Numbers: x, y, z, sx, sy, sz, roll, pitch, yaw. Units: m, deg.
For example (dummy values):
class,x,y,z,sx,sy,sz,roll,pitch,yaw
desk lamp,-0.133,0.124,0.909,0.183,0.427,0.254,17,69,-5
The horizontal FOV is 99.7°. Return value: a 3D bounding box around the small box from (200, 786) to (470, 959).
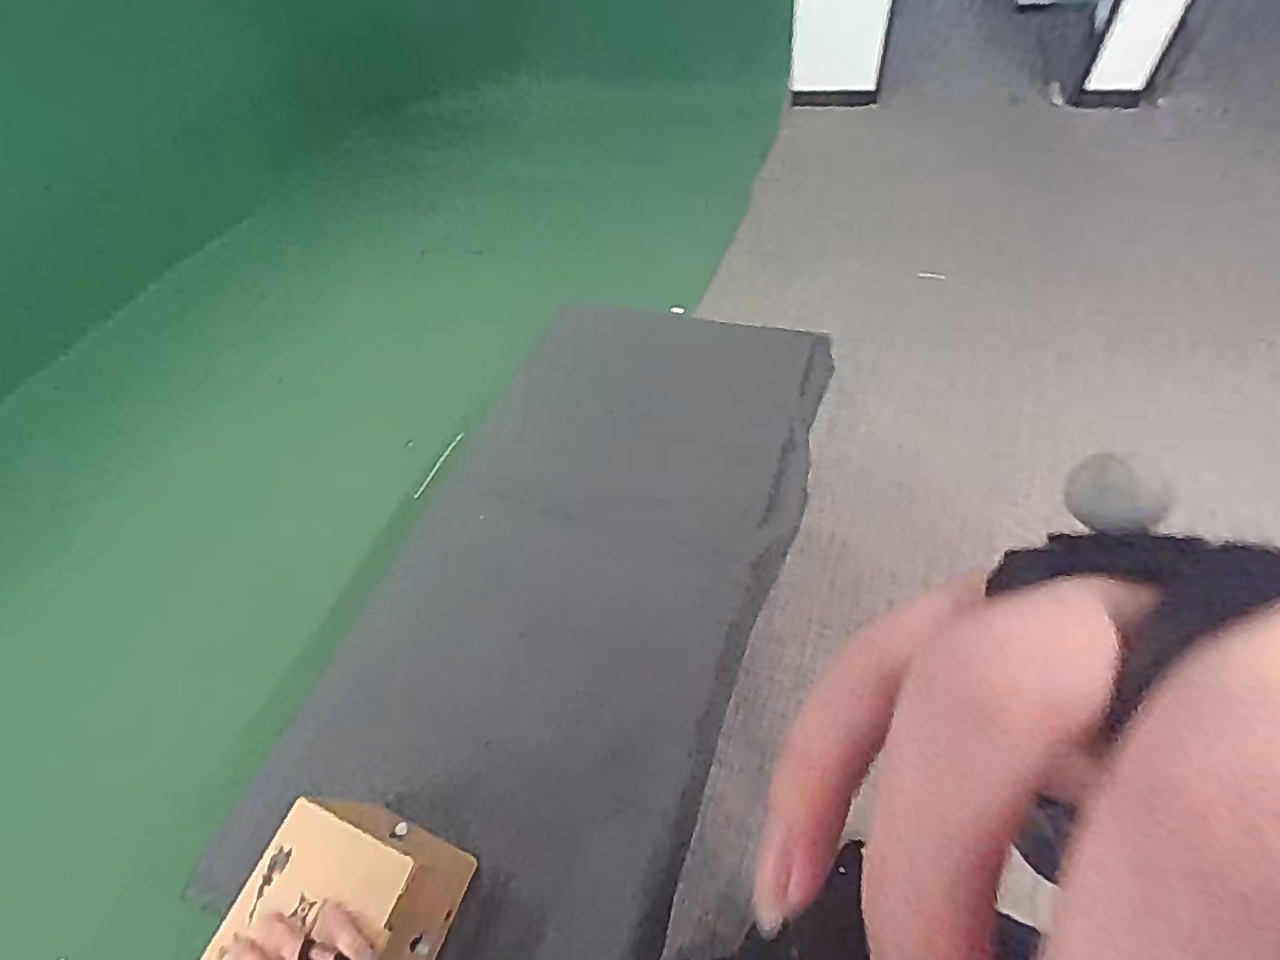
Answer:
class,x,y,z,sx,sy,sz,roll,pitch,yaw
small box,-0.331,0.481,0.629,0.179,0.176,0.168,14,59,18
